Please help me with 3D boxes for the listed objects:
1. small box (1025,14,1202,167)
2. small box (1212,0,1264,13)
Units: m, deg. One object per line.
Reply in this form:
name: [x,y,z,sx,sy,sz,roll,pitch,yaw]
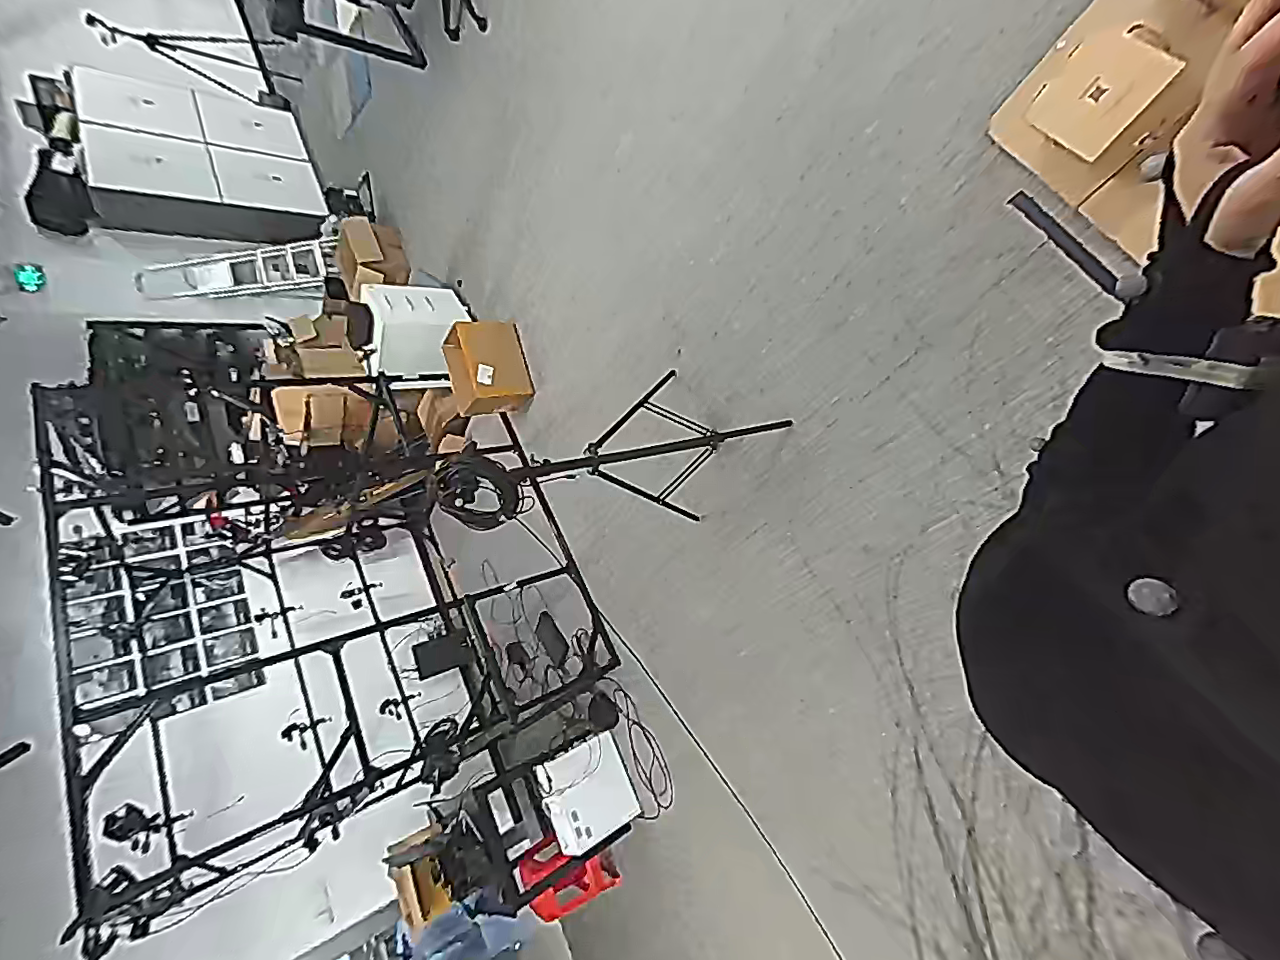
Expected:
small box: [0.884,-0.717,1.014,0.179,0.176,0.168,56,138,24]
small box: [0.977,-0.893,0.847,0.168,0.176,0.179,58,138,23]
